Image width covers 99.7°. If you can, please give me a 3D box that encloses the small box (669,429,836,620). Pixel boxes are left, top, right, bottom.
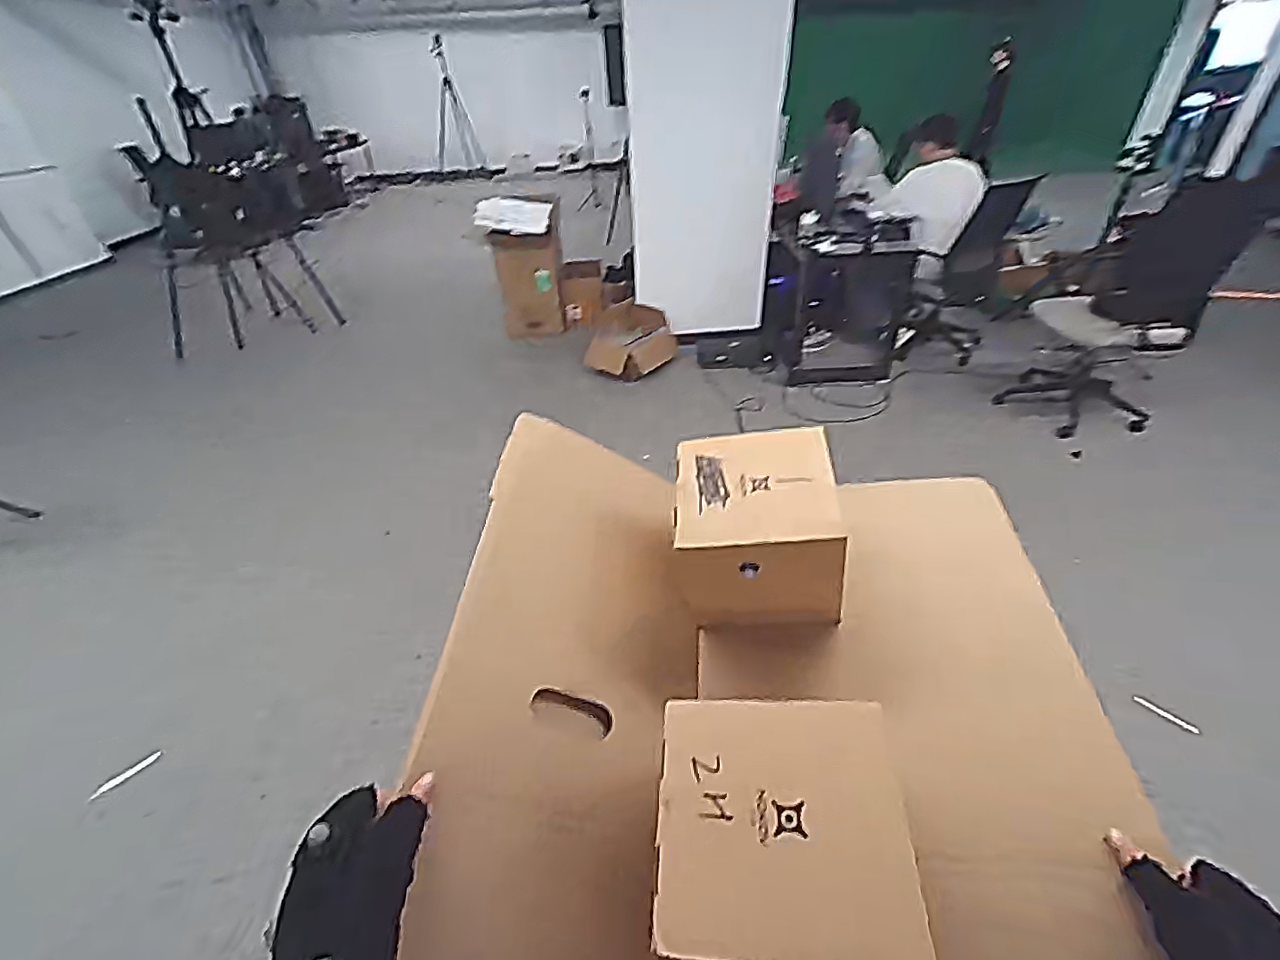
[{"bbox_3d":[0.139,0.061,0.671,0.179,0.176,0.168,-6,47,12],"label":"small box"}]
